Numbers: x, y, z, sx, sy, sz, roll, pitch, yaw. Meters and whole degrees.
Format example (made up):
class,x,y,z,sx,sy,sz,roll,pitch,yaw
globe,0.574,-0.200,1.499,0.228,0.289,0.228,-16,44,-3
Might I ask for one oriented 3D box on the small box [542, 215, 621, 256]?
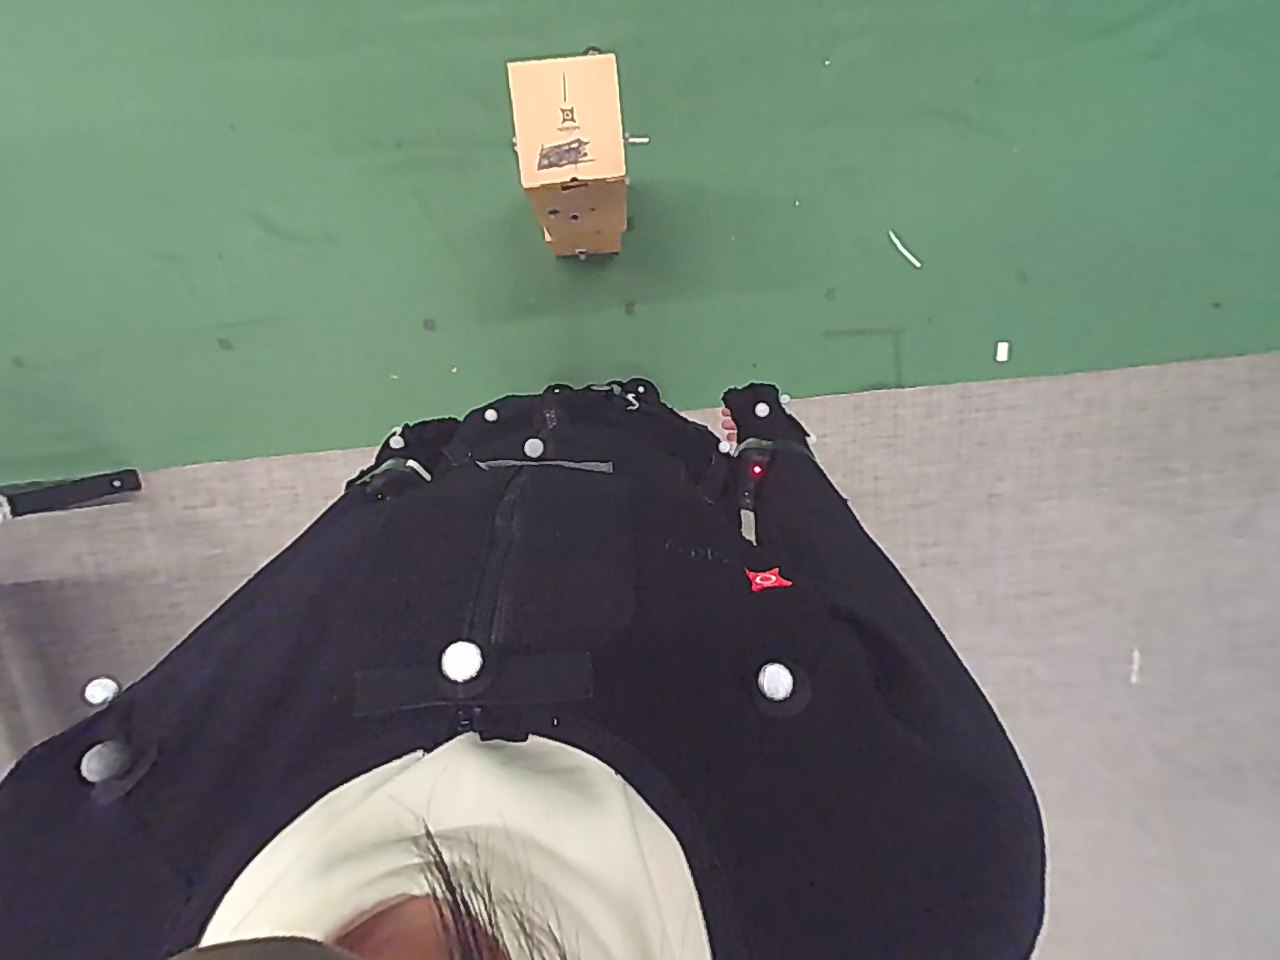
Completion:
class,x,y,z,sx,sy,sz,roll,pitch,yaw
small box,-0.129,-0.614,1.208,0.168,0.176,0.179,-2,101,0

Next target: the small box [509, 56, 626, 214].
class,x,y,z,sx,sy,sz,roll,pitch,yaw
small box,-0.111,-0.560,0.903,0.168,0.176,0.179,-6,100,-1

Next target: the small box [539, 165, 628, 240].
class,x,y,z,sx,sy,sz,roll,pitch,yaw
small box,-0.114,-0.592,1.065,0.168,0.176,0.179,-5,100,-1
